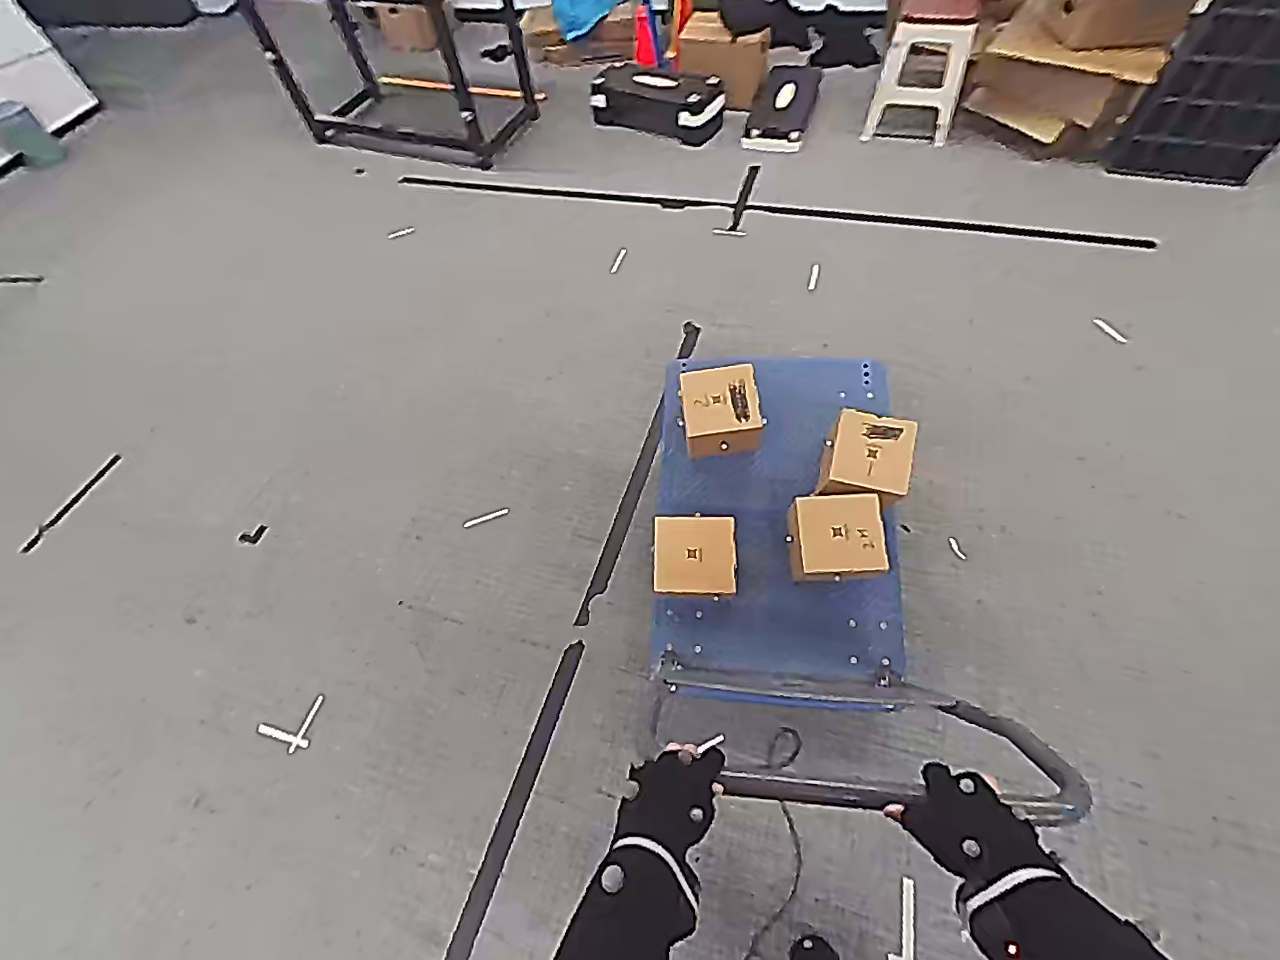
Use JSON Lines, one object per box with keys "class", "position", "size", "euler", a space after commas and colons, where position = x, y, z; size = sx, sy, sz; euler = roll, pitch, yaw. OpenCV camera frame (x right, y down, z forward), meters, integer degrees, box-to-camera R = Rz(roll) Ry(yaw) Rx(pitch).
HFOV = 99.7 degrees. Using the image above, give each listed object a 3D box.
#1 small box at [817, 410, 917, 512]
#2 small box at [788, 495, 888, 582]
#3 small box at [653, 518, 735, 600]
{"class": "small box", "position": [0.522, -0.039, 1.260], "size": [0.168, 0.176, 0.179], "euler": [13, 76, 11]}
{"class": "small box", "position": [0.434, 0.137, 1.218], "size": [0.179, 0.176, 0.168], "euler": [-3, 73, 6]}
{"class": "small box", "position": [0.125, 0.186, 1.242], "size": [0.179, 0.176, 0.168], "euler": [0, 73, 5]}
